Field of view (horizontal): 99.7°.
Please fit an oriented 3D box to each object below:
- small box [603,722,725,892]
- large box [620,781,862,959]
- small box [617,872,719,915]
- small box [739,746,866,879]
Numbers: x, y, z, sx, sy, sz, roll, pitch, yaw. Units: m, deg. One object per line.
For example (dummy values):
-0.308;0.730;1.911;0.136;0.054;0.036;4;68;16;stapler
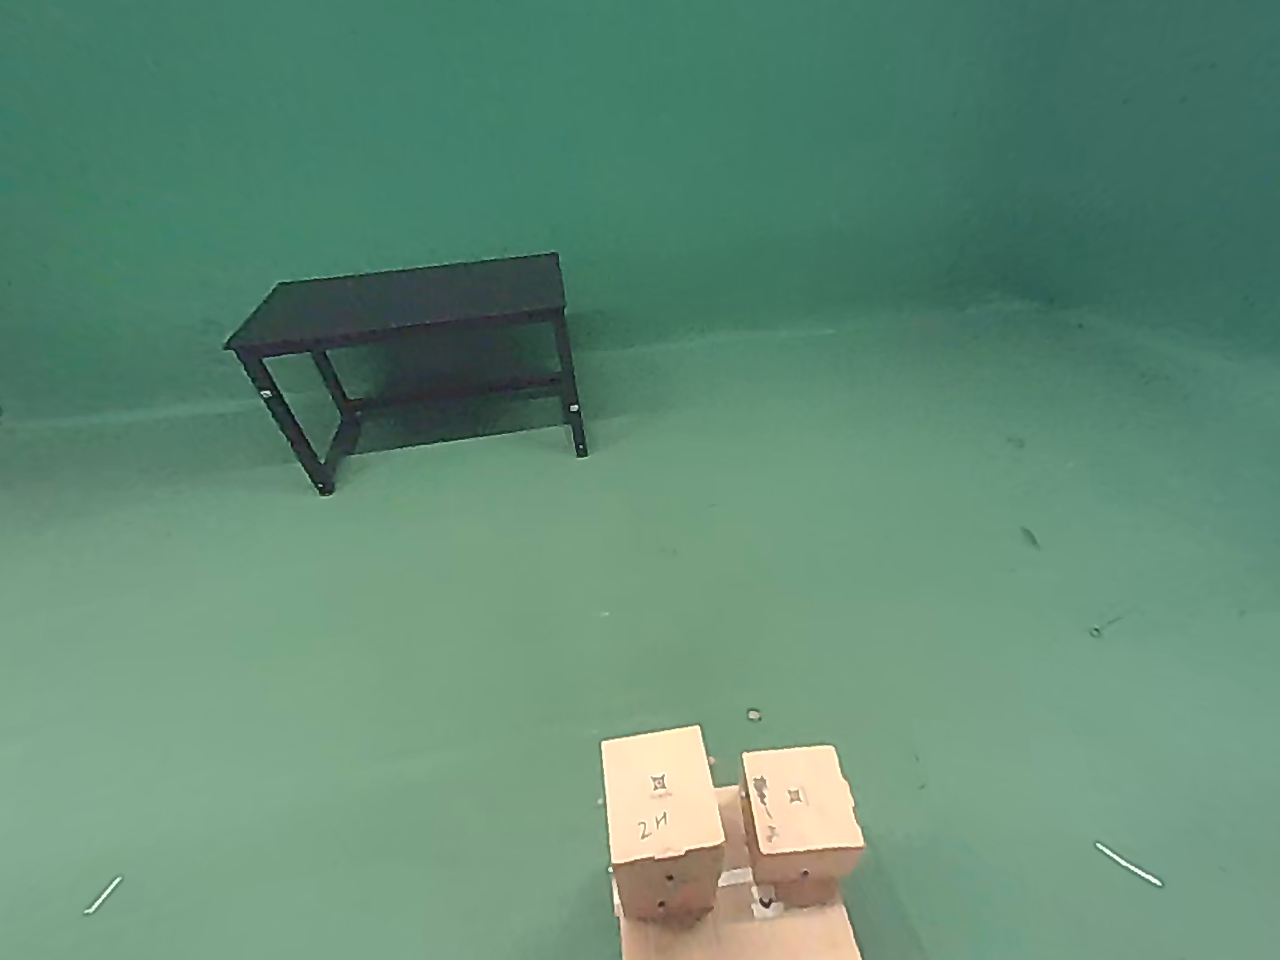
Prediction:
0.033;0.522;0.866;0.168;0.176;0.179;-8;41;-4;small box
0.166;0.849;1.098;0.408;0.320;0.320;-7;41;-3;large box
0.040;0.646;0.974;0.168;0.176;0.179;-7;40;-3;small box
0.285;0.608;0.989;0.179;0.176;0.168;-4;40;1;small box
